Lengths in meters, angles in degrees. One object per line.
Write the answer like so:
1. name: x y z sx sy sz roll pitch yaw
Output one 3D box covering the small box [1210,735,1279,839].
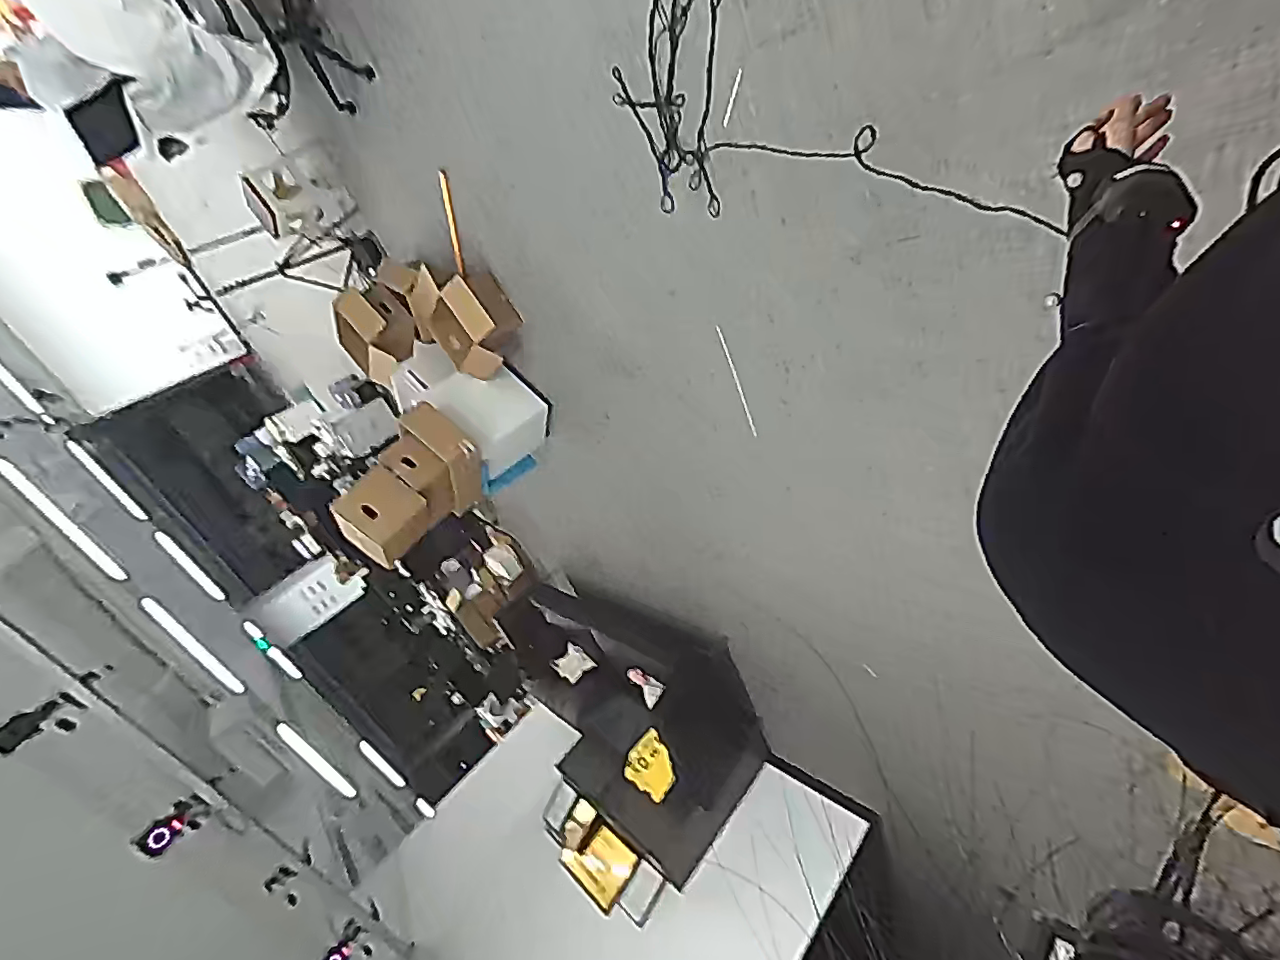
1. small box: 1.746 0.851 1.496 0.168 0.176 0.179 26 144 35
